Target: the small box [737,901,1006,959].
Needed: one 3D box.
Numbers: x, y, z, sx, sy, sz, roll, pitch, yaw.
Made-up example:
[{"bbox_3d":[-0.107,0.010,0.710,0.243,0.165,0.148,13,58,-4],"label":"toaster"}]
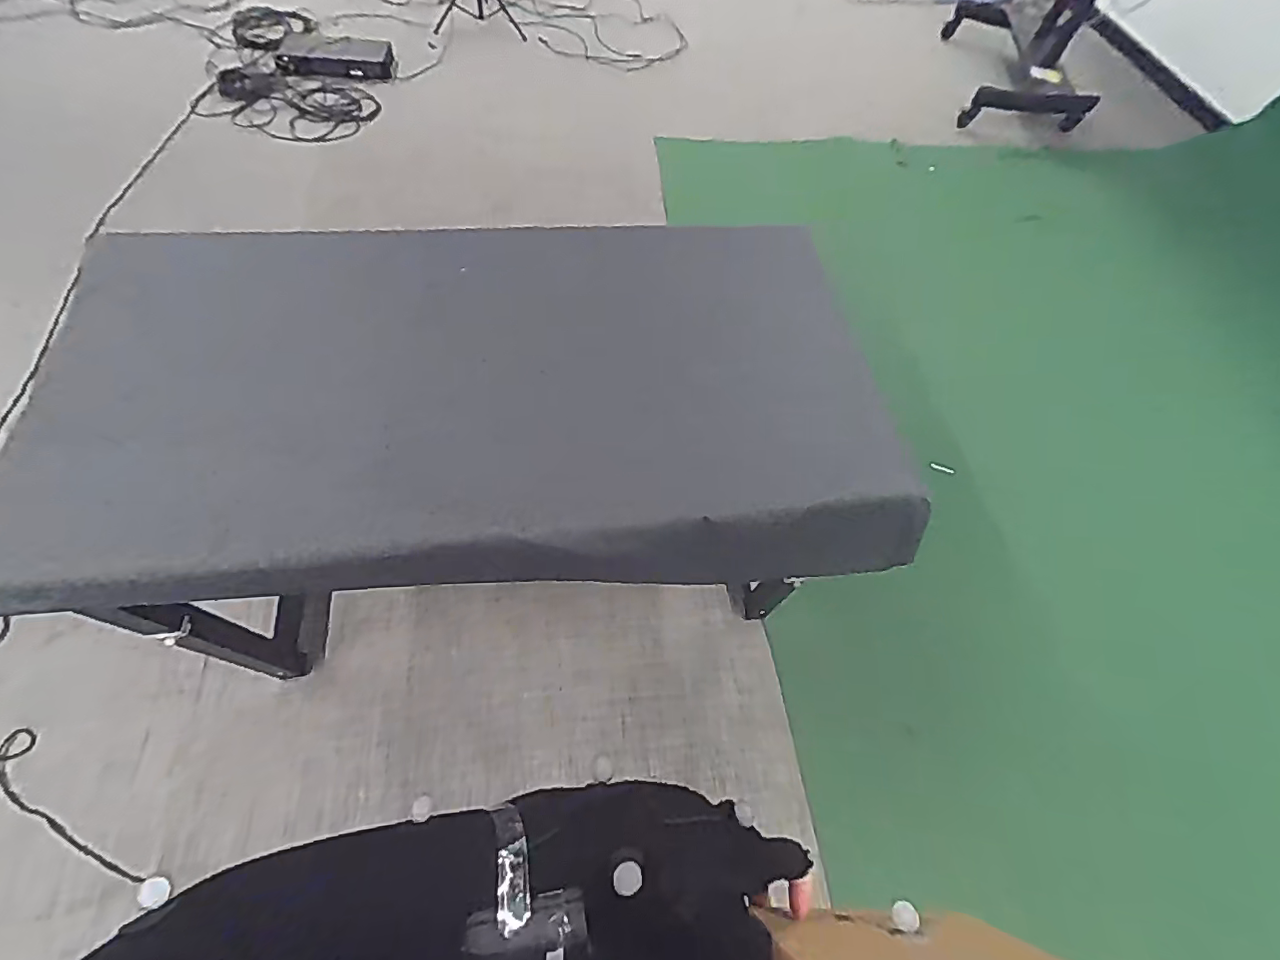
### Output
[{"bbox_3d":[0.148,0.354,0.278,0.168,0.176,0.179,7,66,-3],"label":"small box"}]
